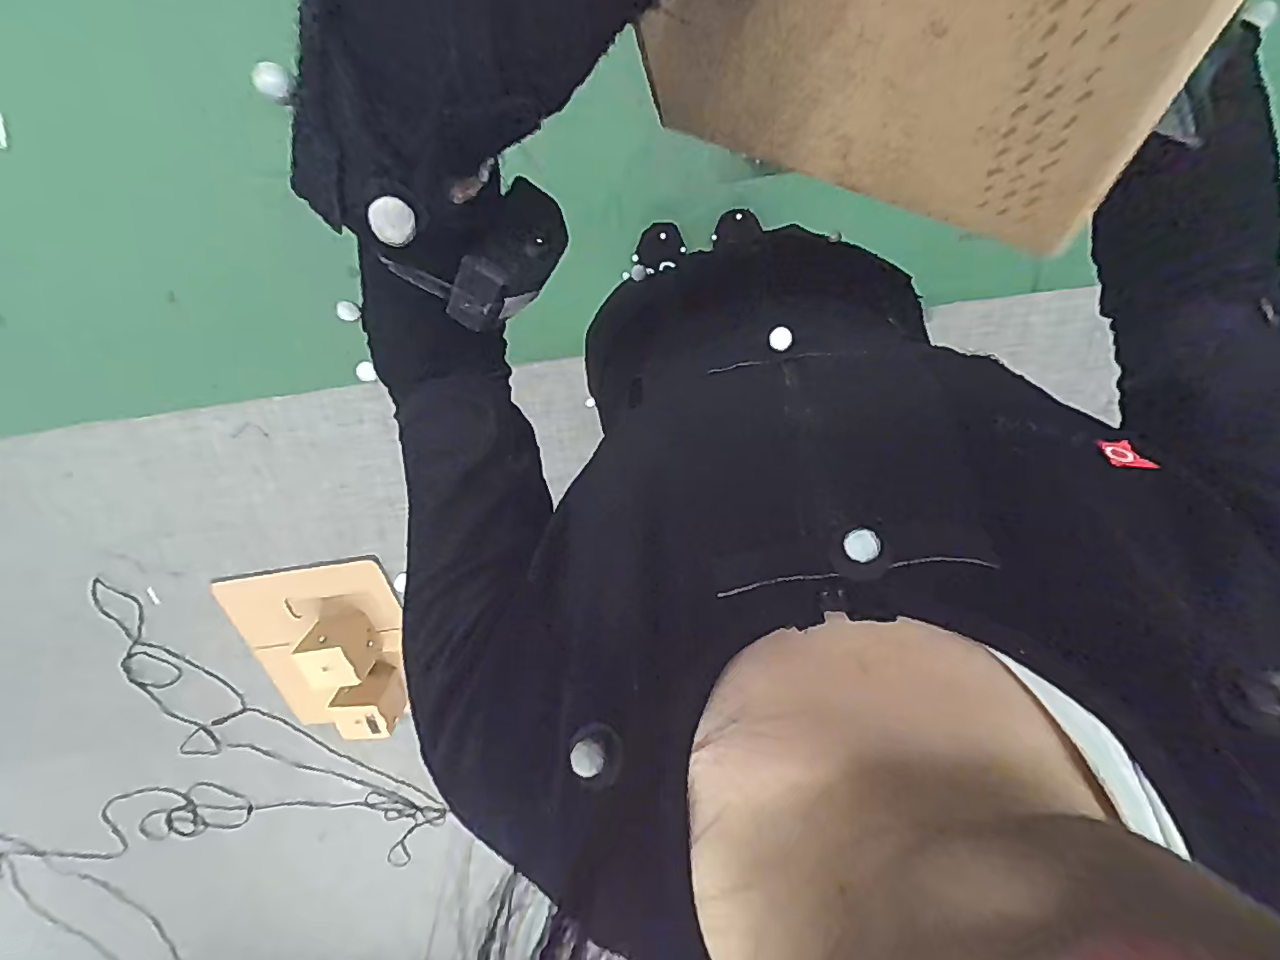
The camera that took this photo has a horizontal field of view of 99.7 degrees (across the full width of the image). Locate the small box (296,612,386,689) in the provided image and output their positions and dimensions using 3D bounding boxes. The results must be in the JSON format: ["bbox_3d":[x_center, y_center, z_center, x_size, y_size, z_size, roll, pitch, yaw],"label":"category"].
[{"bbox_3d":[-0.993,0.568,1.812,0.179,0.176,0.168,-11,115,6],"label":"small box"}]
